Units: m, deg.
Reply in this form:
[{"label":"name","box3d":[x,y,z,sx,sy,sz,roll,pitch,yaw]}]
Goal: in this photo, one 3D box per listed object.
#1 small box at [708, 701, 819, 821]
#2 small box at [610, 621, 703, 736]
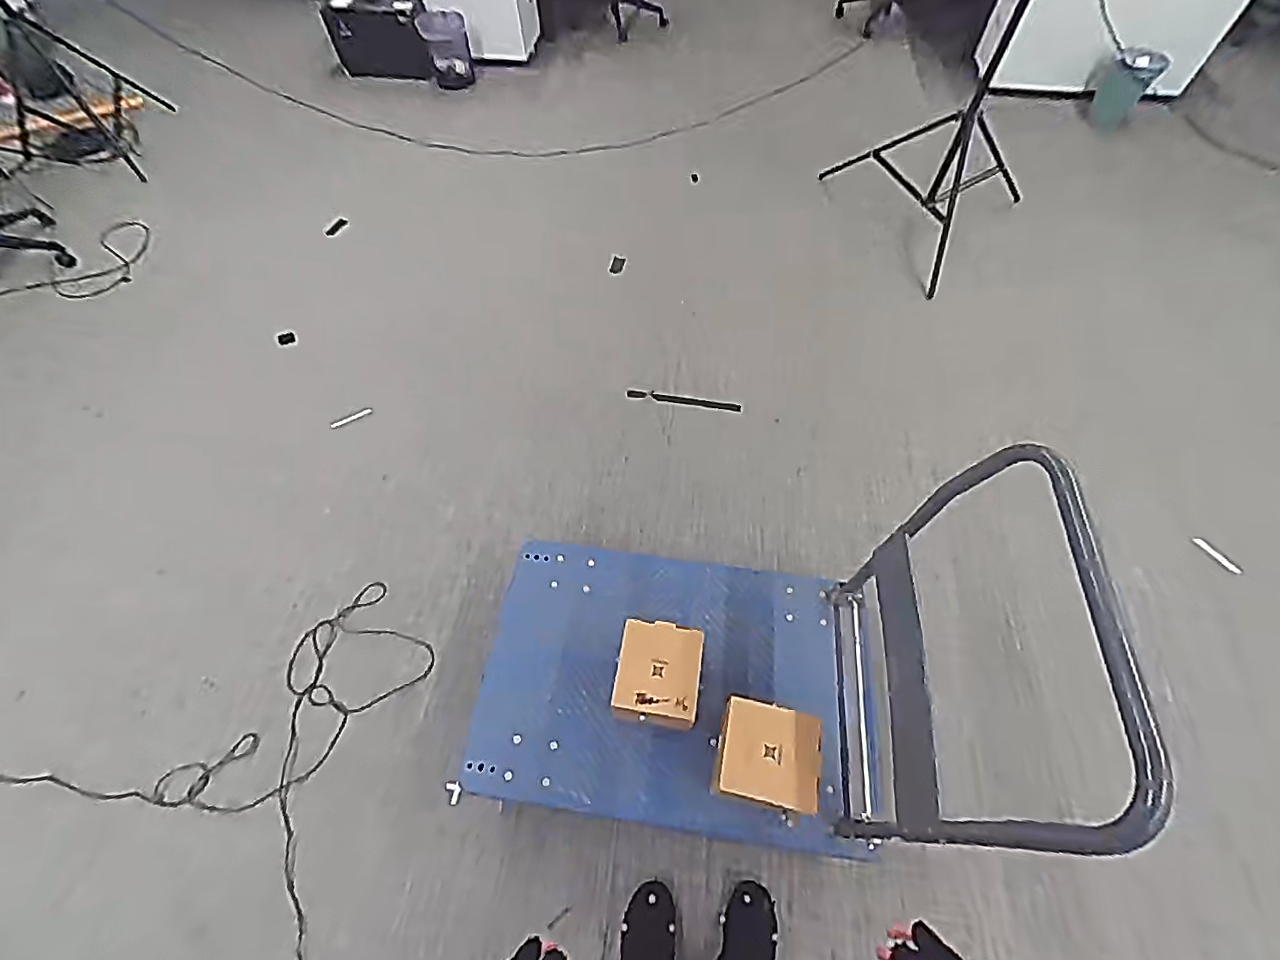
[{"label":"small box","box3d":[0.239,0.556,1.064,0.179,0.176,0.168,11,56,8]},{"label":"small box","box3d":[0.035,0.424,1.147,0.168,0.176,0.179,8,57,6]}]
